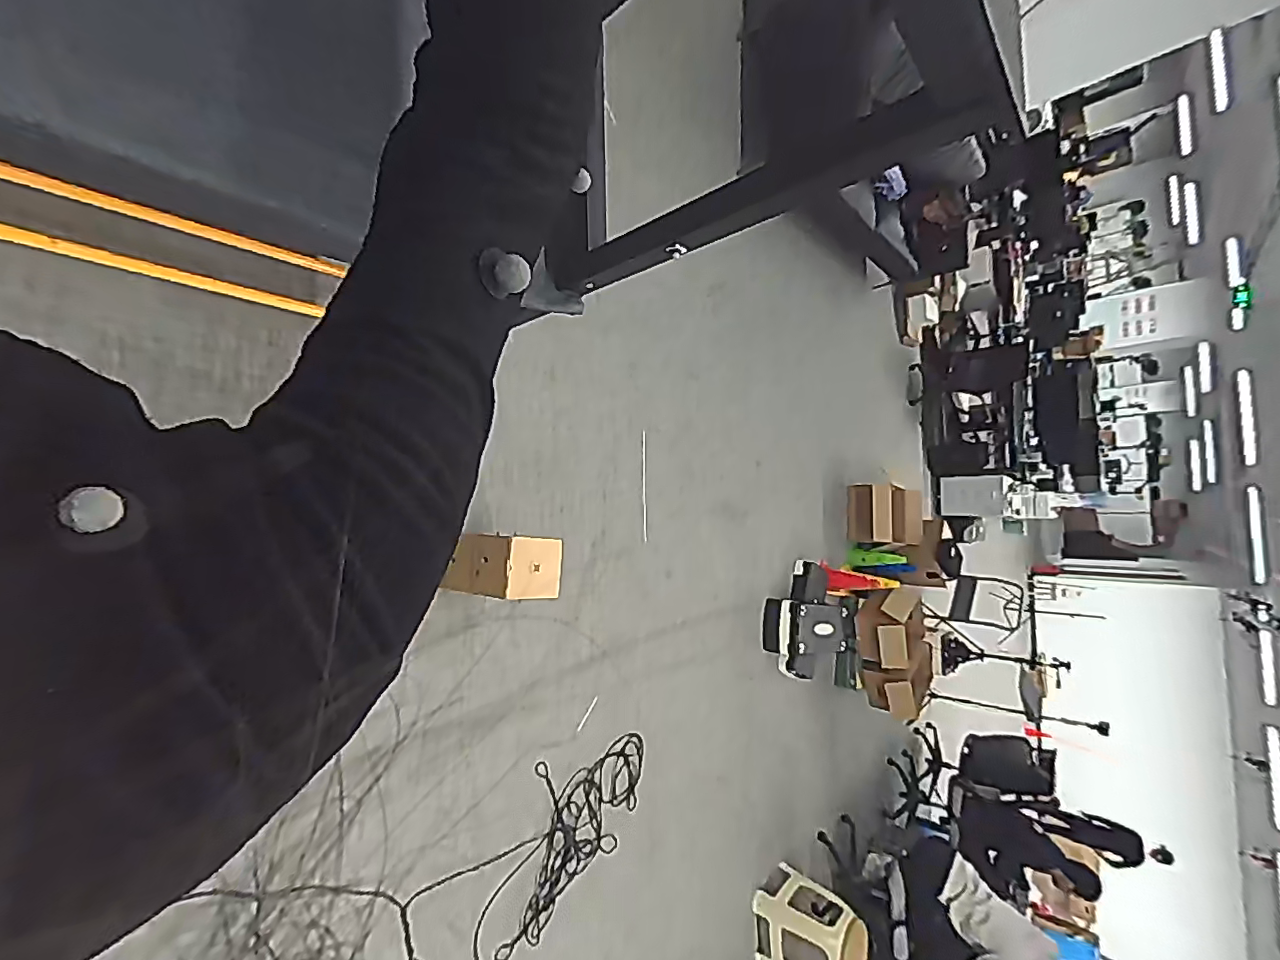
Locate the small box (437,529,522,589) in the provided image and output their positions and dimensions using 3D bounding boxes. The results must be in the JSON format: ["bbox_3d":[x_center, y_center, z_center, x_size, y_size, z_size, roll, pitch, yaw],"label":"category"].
[{"bbox_3d":[-0.481,0.235,1.624,0.179,0.176,0.168,13,78,-47],"label":"small box"}]
